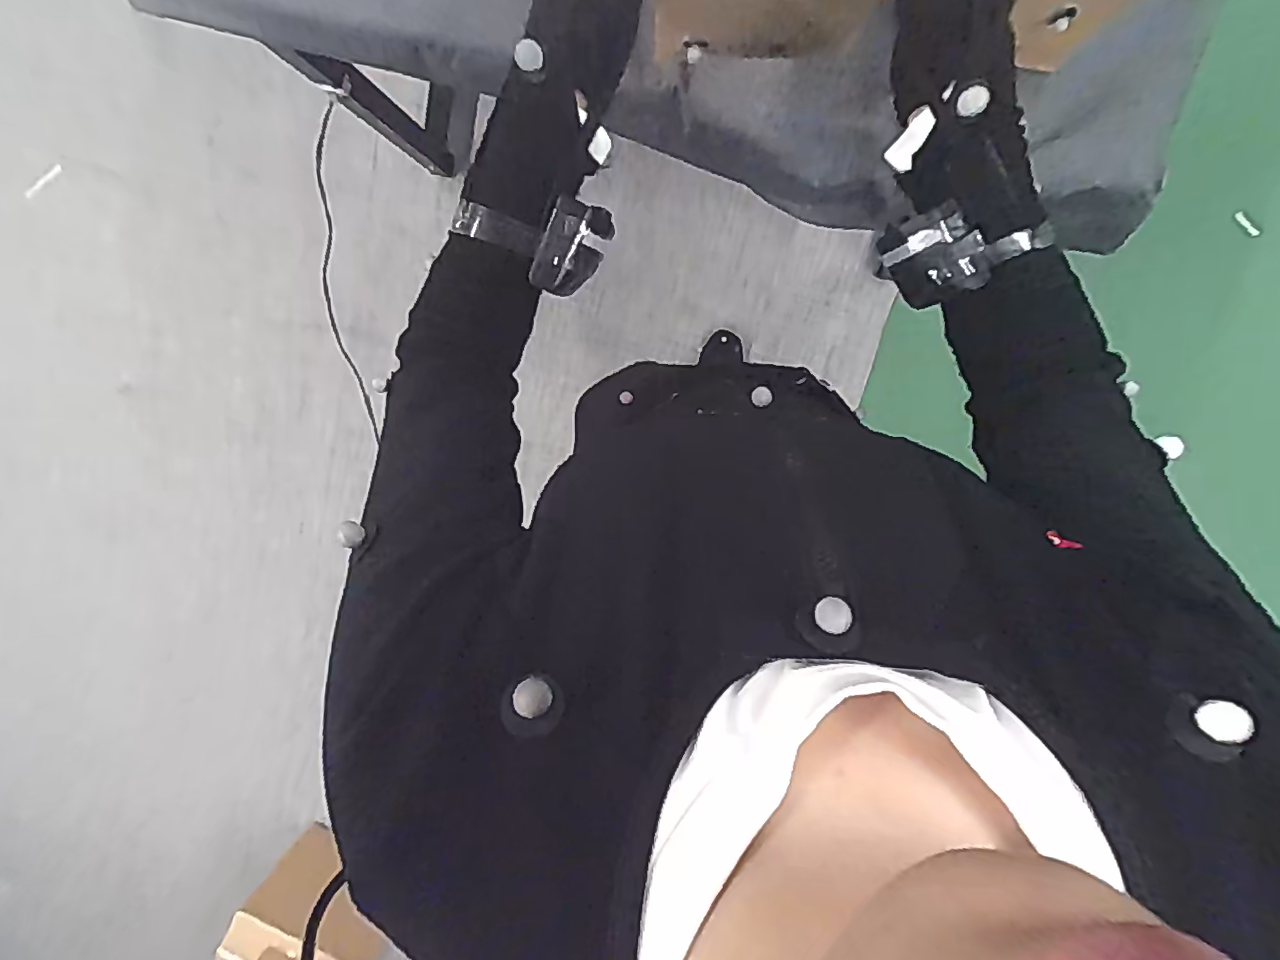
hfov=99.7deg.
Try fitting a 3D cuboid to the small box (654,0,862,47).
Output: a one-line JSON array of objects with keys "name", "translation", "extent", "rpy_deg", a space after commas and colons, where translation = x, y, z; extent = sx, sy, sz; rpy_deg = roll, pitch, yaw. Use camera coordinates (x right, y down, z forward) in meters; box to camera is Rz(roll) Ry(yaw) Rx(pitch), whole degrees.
[{"name": "small box", "translation": [0.092, -0.439, 0.378], "extent": [0.168, 0.176, 0.179], "rpy_deg": [1, 105, 3]}]

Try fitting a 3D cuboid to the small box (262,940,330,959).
[{"name": "small box", "translation": [-0.959, 1.382, 1.435], "extent": [0.179, 0.176, 0.168], "rpy_deg": [22, 102, 0]}]

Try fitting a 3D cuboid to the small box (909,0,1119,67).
[{"name": "small box", "translation": [0.377, -0.529, 0.499], "extent": [0.168, 0.176, 0.179], "rpy_deg": [11, 101, 2]}]
